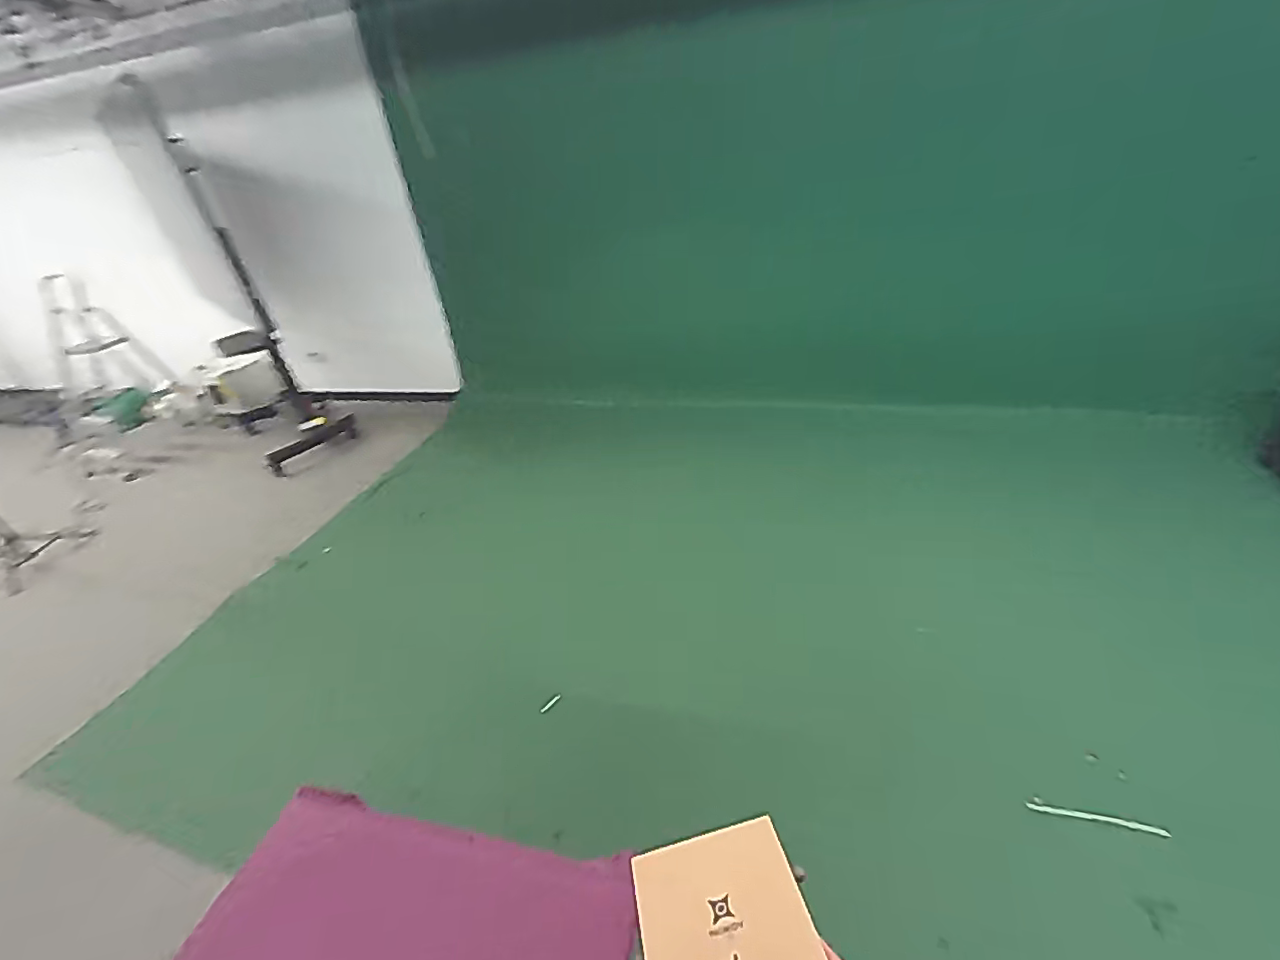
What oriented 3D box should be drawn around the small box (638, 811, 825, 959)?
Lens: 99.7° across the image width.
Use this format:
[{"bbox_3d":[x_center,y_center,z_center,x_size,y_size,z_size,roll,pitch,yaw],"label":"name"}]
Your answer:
[{"bbox_3d":[0.102,0.506,0.575,0.168,0.176,0.179,-16,22,-1],"label":"small box"}]
